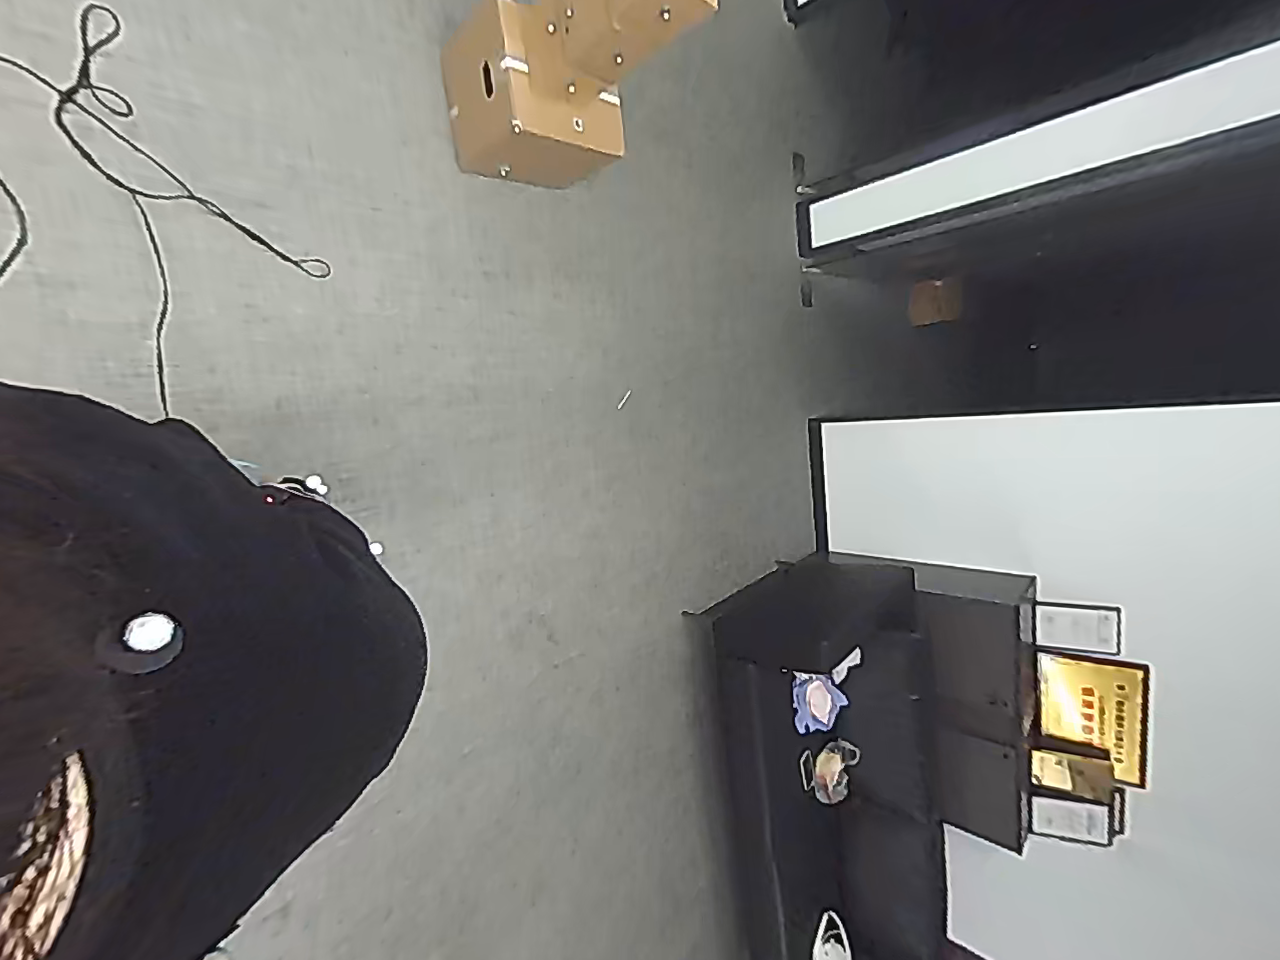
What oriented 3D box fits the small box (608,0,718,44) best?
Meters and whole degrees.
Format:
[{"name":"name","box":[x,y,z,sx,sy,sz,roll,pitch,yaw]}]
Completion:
[{"name":"small box","box":[0.046,-1.093,1.166,0.179,0.176,0.168,-14,101,-42]}]

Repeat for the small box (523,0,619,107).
[{"name":"small box","box":[-0.180,-1.112,1.405,0.168,0.176,0.179,-19,105,-43]}]
